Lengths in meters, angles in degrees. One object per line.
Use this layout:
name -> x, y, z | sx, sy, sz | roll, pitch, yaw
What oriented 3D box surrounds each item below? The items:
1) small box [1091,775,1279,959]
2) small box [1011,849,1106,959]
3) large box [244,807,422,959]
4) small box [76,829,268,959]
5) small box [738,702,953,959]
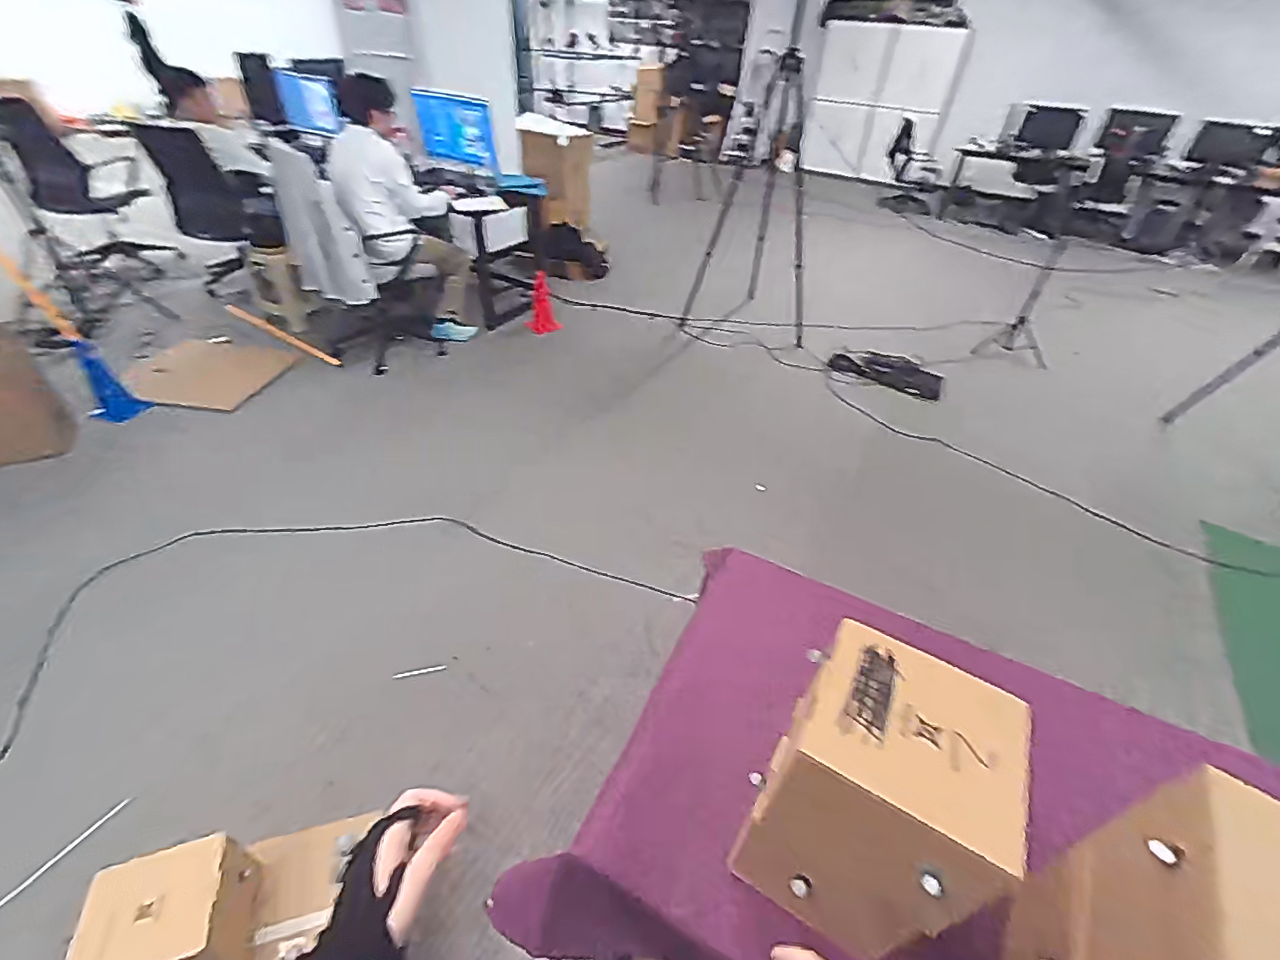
small box -> 0.501, 0.389, 0.428 | 0.168, 0.176, 0.179 | 28, 45, 27
small box -> 0.487, 0.520, 0.528 | 0.168, 0.176, 0.179 | 27, 45, 26
large box -> -0.652, 0.891, 1.016 | 0.408, 0.320, 0.320 | -7, 41, -15
small box -> -0.723, 0.698, 0.855 | 0.179, 0.176, 0.168 | -11, 40, -17
small box -> 0.232, 0.410, 0.636 | 0.179, 0.176, 0.168 | 23, 43, 23
